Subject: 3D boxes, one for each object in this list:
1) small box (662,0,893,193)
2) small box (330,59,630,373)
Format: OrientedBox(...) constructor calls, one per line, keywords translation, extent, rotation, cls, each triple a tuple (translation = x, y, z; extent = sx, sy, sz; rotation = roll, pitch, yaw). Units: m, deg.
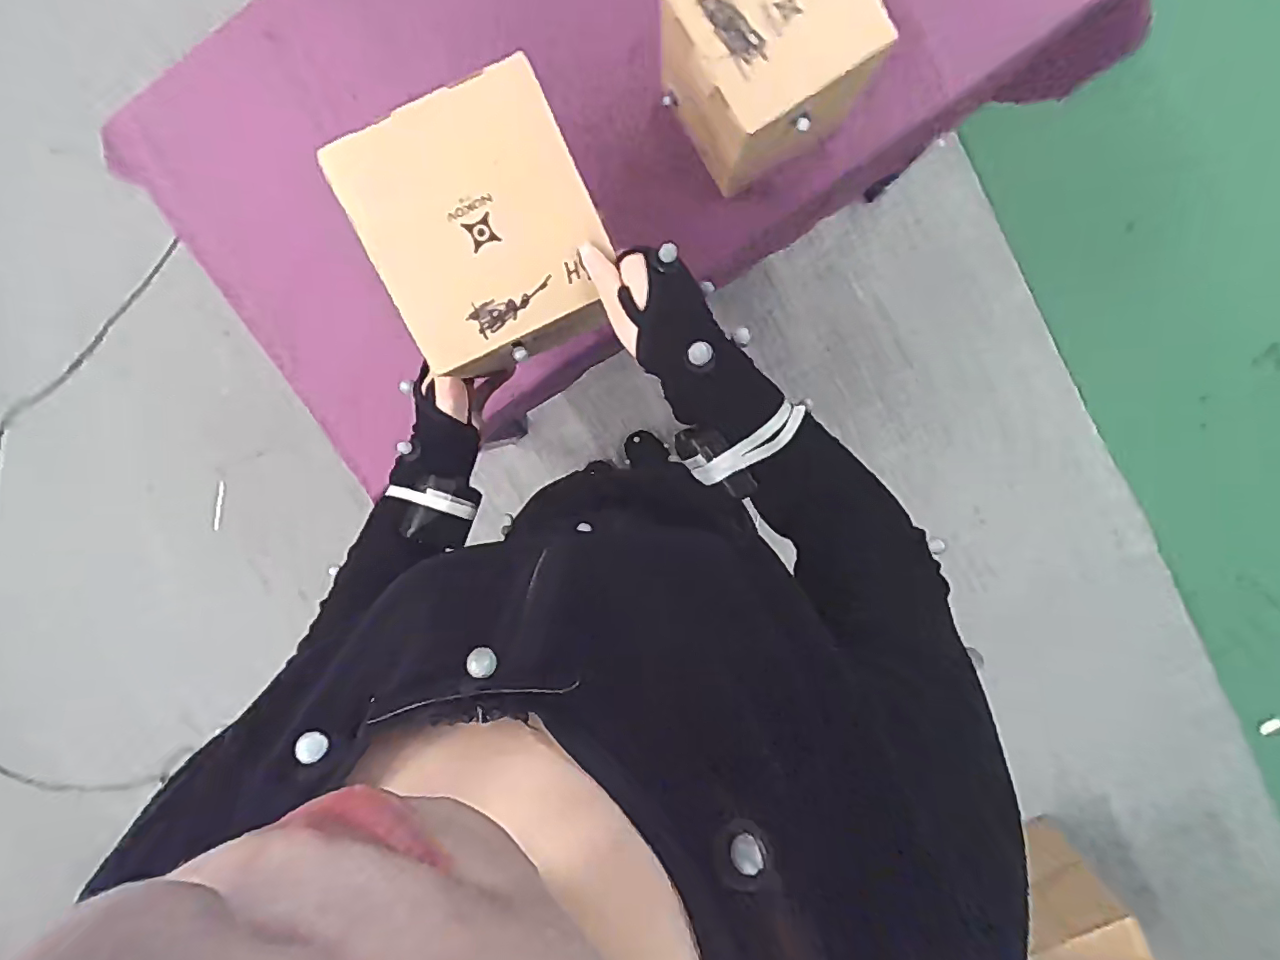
OrientedBox(translation=(0.140, -0.467, 0.613), extent=(0.179, 0.176, 0.168), rotation=(-31, 95, 5), cls="small box")
OrientedBox(translation=(-0.120, -0.204, 0.477), extent=(0.168, 0.176, 0.179), rotation=(-24, 101, 2), cls="small box")
